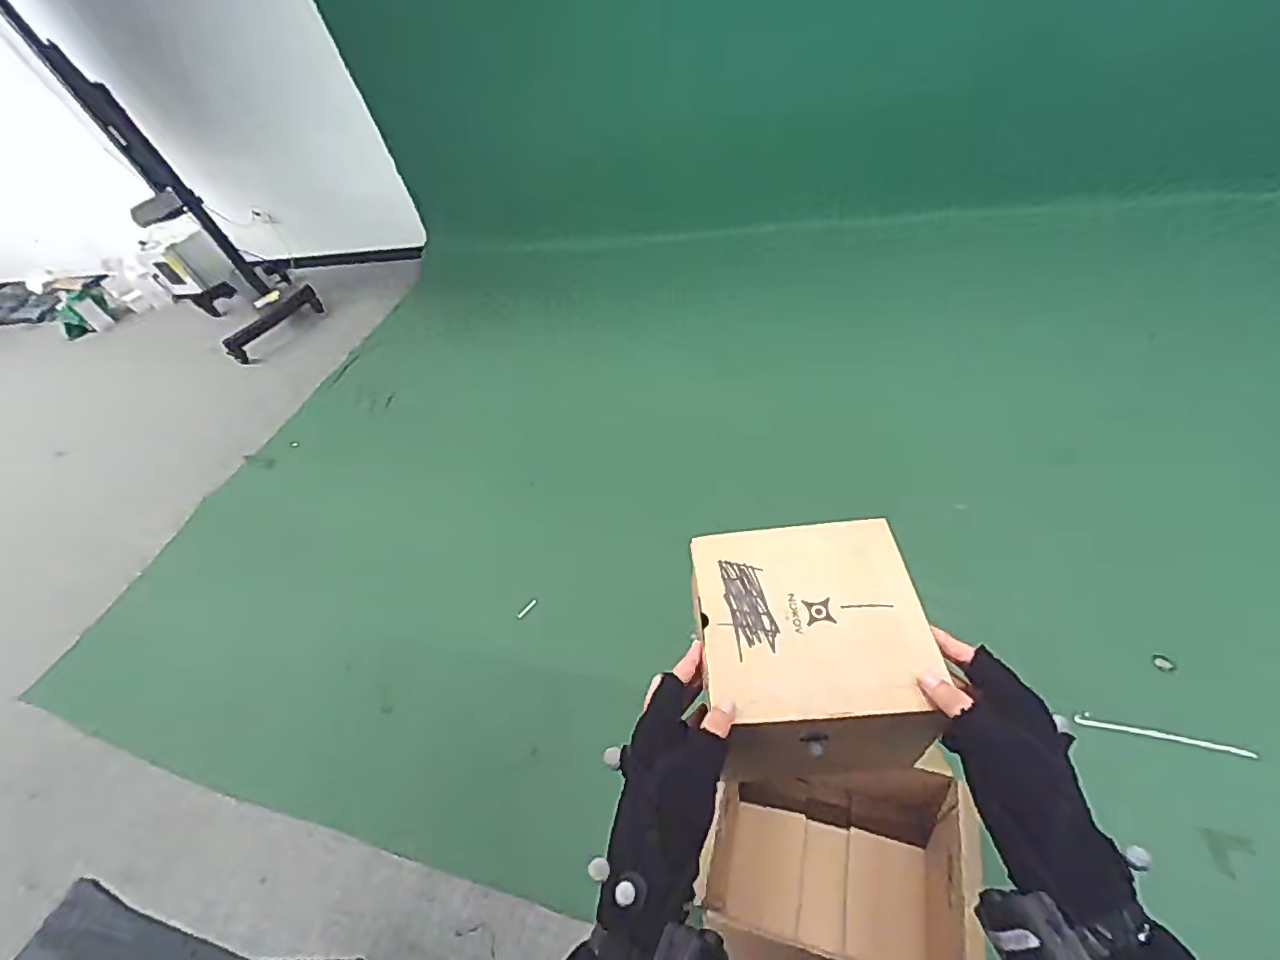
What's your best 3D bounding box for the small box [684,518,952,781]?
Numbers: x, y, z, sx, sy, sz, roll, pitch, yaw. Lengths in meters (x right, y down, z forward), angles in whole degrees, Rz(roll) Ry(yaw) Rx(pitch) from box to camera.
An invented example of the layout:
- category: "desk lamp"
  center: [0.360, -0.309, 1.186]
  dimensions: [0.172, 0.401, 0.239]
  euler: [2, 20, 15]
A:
- category: "small box"
  center: [0.141, 0.158, 0.487]
  dimensions: [0.179, 0.176, 0.168]
  euler: [-8, 48, 6]
